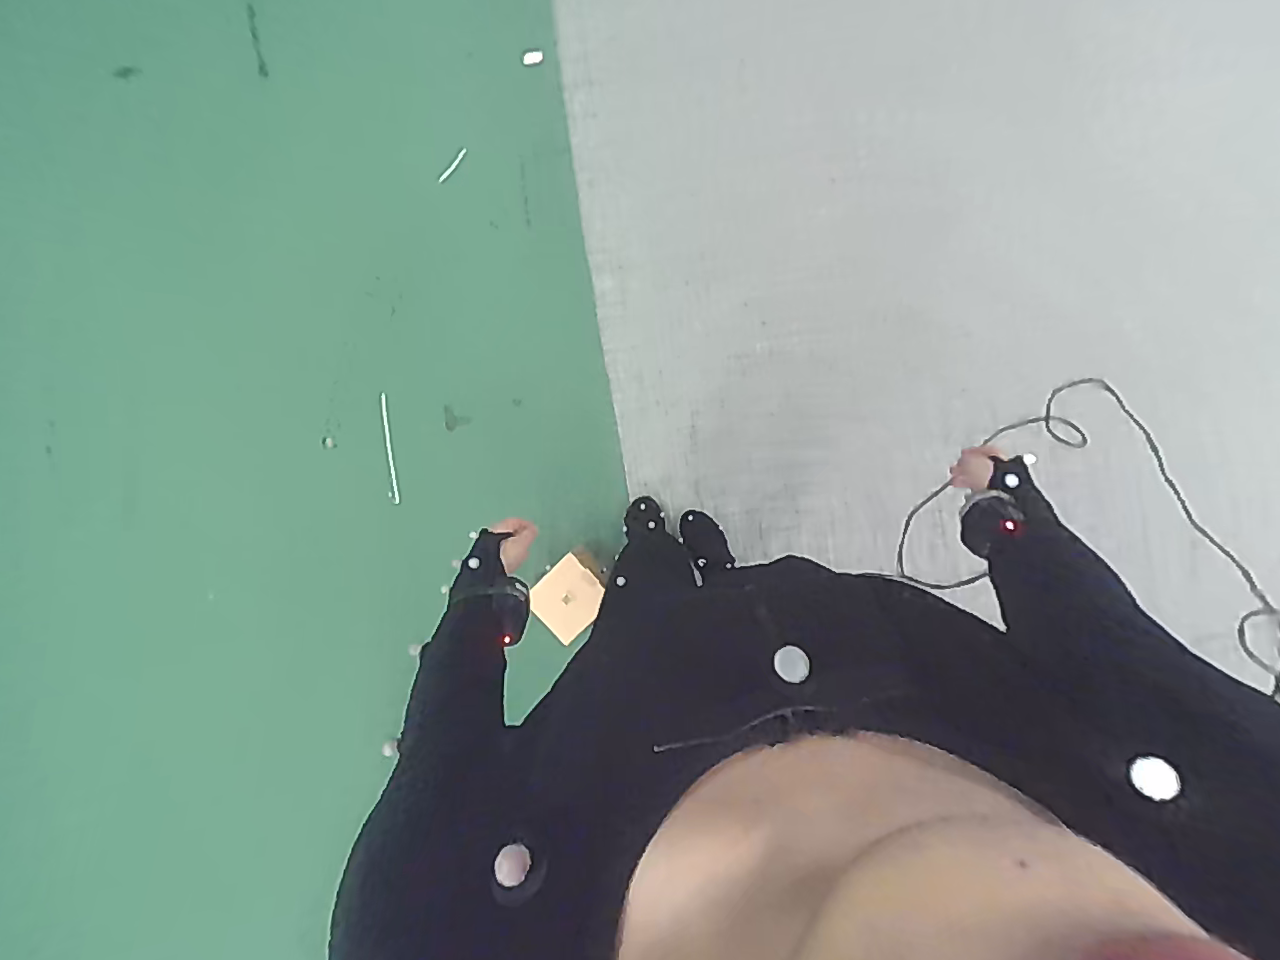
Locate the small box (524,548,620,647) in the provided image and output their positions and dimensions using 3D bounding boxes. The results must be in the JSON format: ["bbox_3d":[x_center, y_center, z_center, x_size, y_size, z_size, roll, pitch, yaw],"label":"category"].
[{"bbox_3d":[-0.168,0.300,1.416,0.168,0.176,0.179,45,92,3],"label":"small box"}]
